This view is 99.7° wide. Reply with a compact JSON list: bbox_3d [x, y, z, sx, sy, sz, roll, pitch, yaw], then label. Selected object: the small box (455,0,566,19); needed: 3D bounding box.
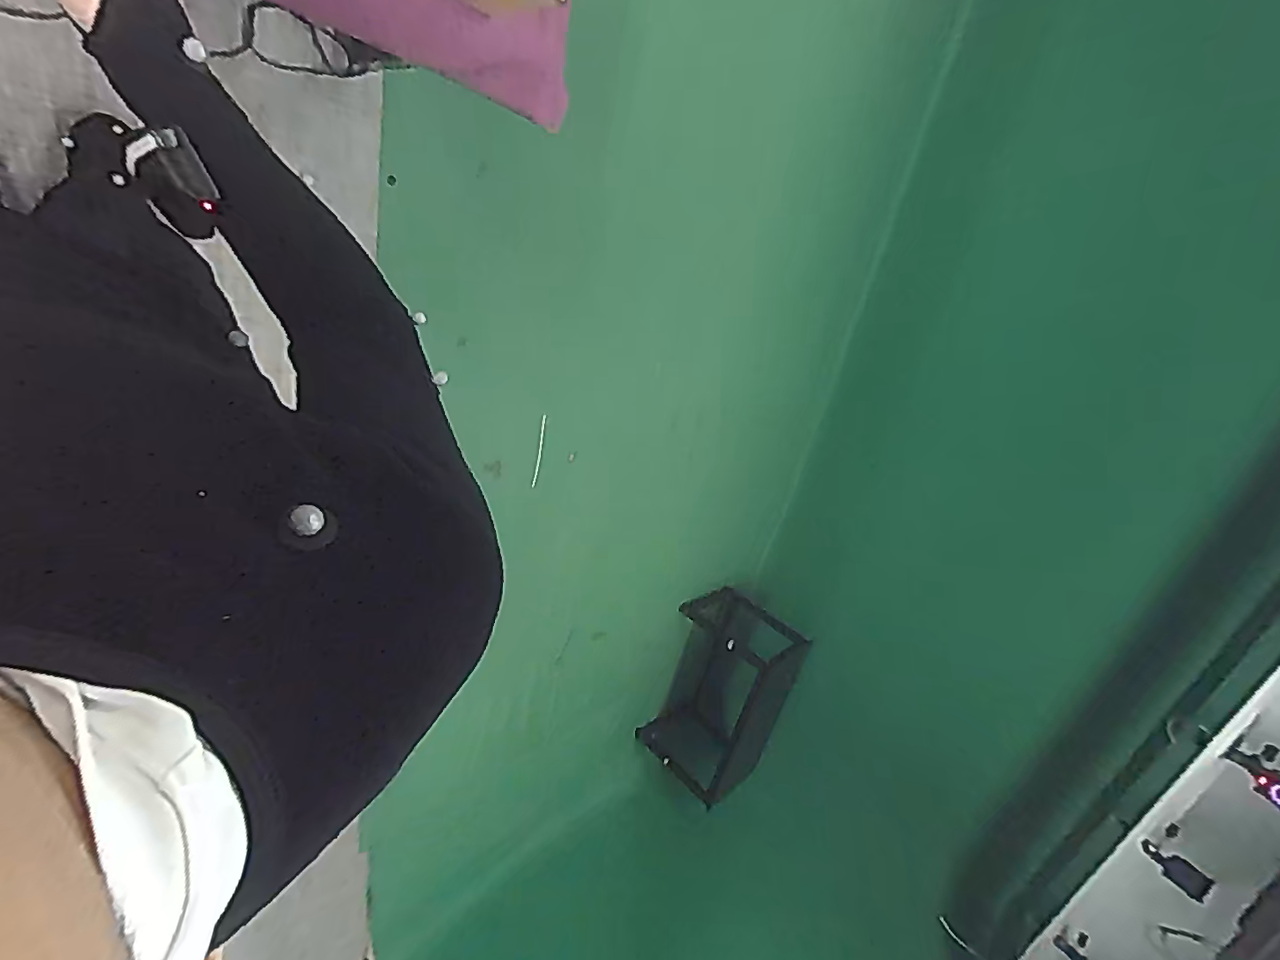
[{"bbox_3d":[-0.189,-0.700,0.645,0.168,0.176,0.179,-9,119,-45],"label":"small box"}]
